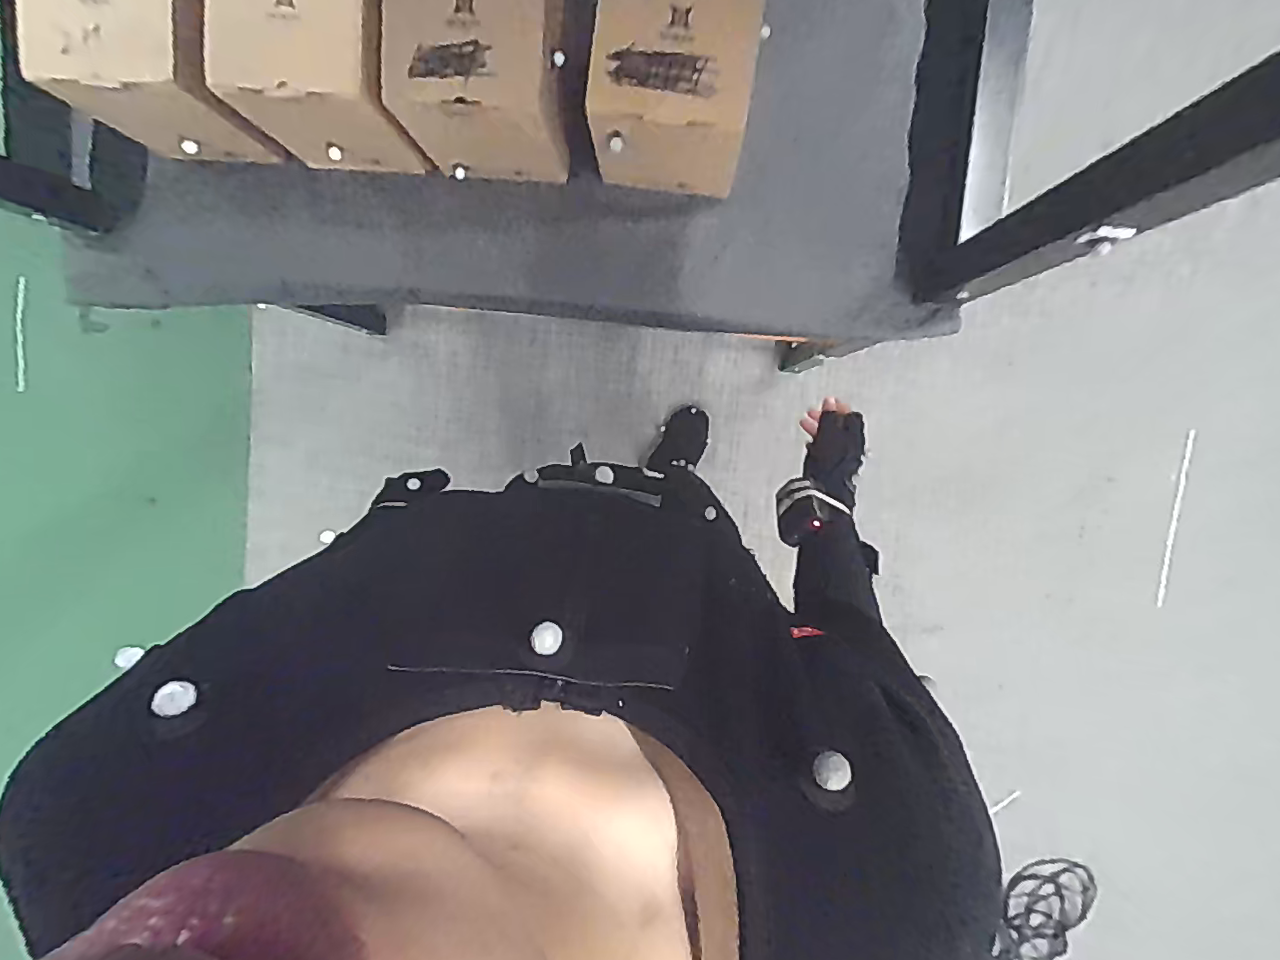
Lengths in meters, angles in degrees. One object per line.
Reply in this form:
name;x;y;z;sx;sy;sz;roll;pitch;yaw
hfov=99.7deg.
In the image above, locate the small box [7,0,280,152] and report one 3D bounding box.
small box;-0.547;-0.513;0.619;0.168;0.176;0.179;4;96;2
